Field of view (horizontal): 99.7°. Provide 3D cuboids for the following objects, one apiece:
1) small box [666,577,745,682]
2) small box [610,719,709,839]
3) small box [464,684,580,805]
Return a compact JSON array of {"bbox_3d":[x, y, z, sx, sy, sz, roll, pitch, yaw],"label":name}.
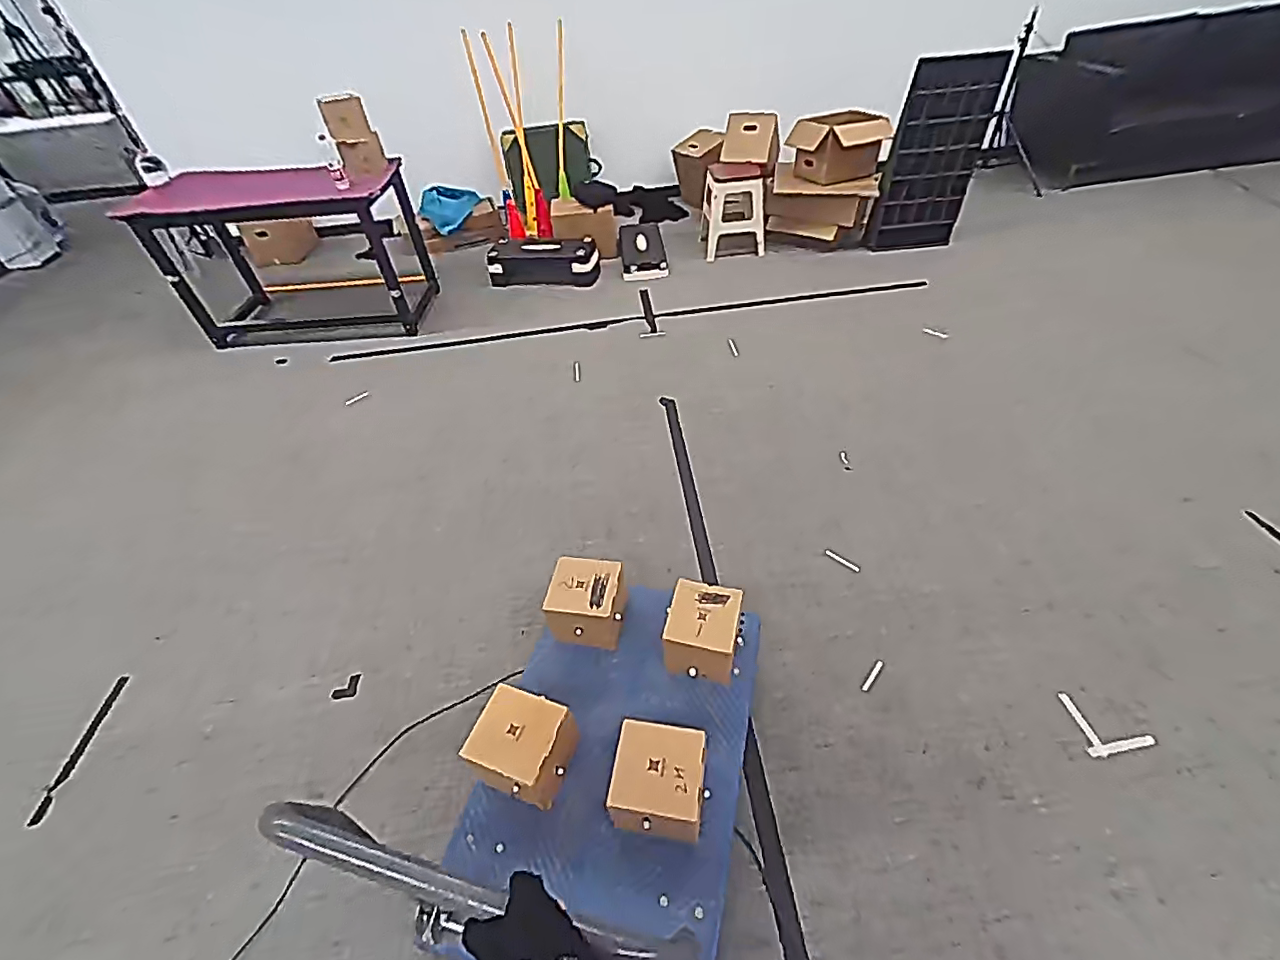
[{"bbox_3d":[0.164,0.376,1.355,0.168,0.176,0.179,9,47,14],"label":"small box"},{"bbox_3d":[0.049,0.620,1.120,0.179,0.176,0.168,4,46,11],"label":"small box"},{"bbox_3d":[-0.249,0.584,1.189,0.179,0.176,0.168,12,47,16],"label":"small box"}]
